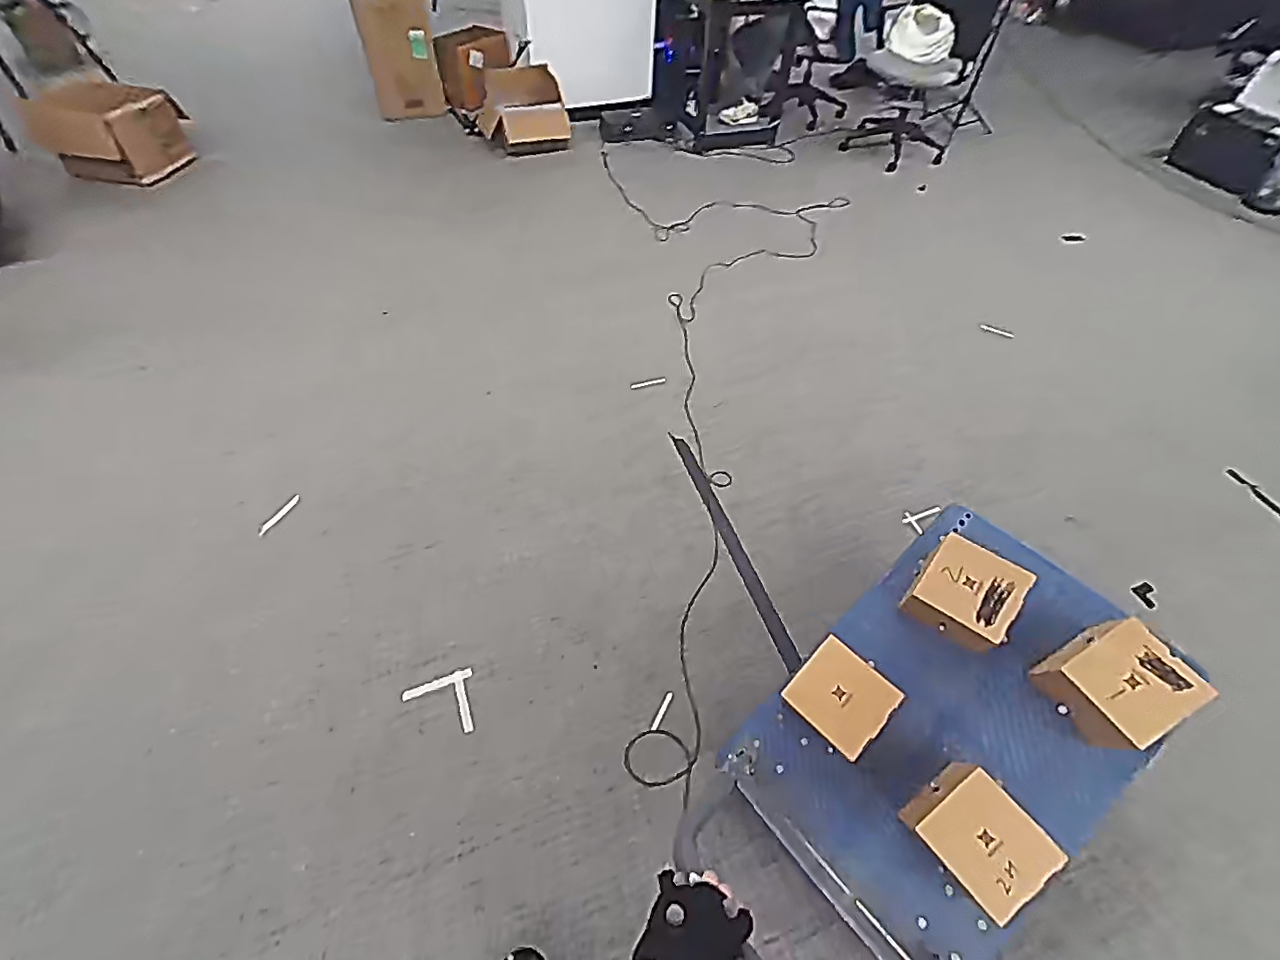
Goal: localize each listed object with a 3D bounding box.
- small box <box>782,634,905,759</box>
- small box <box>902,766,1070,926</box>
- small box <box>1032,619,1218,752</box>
[{"bbox_3d":[0.417,0.457,1.141,0.179,0.176,0.168,40,80,25],"label":"small box"},{"bbox_3d":[0.619,0.657,0.998,0.168,0.176,0.179,-39,63,-5],"label":"small box"},{"bbox_3d":[0.914,0.395,1.043,0.179,0.176,0.168,-34,62,-2],"label":"small box"}]
